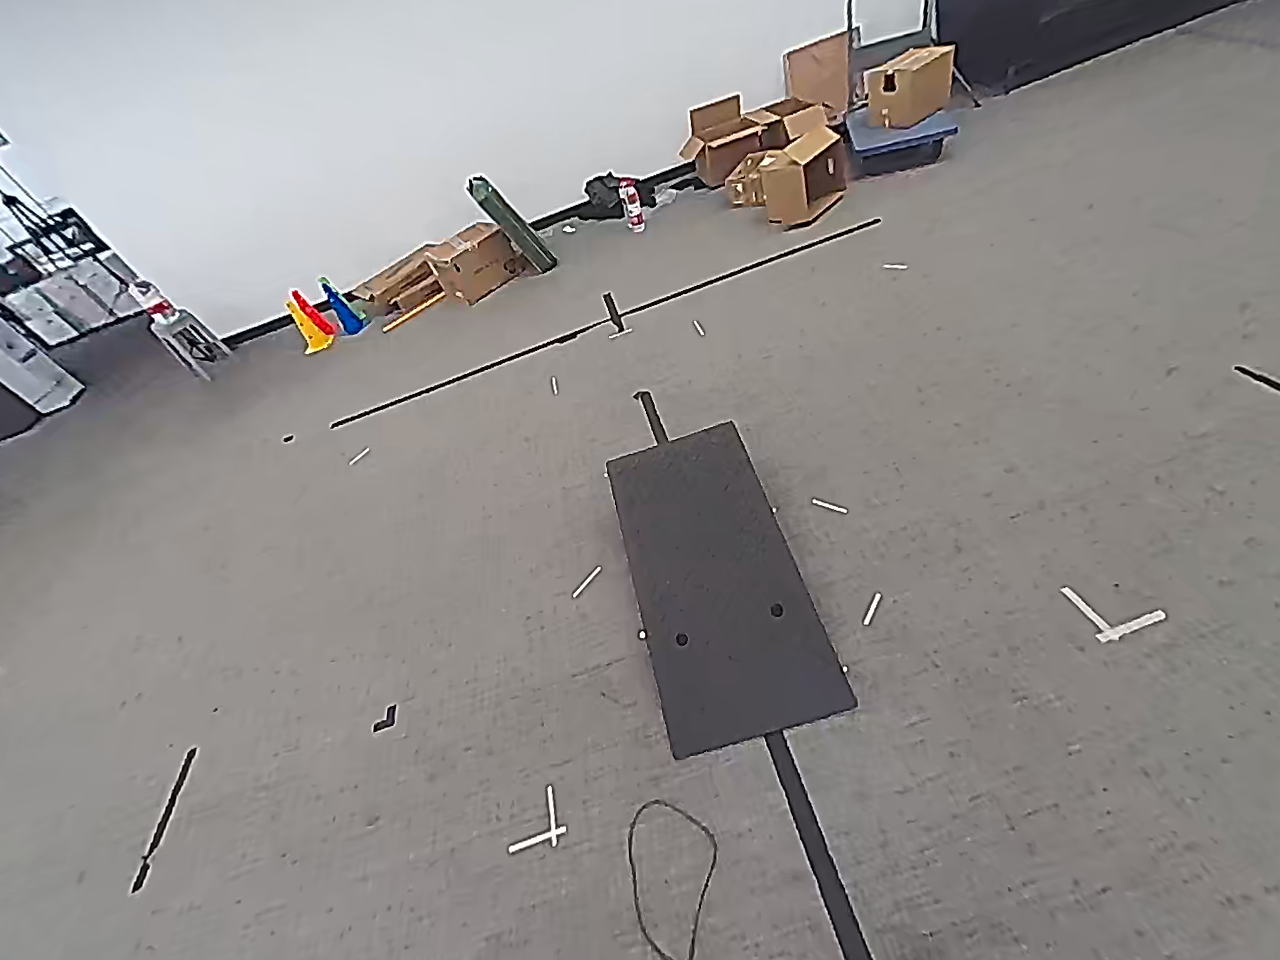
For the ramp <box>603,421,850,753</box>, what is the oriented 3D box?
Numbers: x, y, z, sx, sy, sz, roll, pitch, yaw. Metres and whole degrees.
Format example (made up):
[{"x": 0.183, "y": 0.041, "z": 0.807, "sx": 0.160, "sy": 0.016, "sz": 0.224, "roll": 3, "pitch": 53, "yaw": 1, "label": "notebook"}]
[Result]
[{"x": 0.206, "y": 0.250, "z": 1.679, "sx": 0.509, "sy": 0.206, "sz": 0.991, "roll": -19, "pitch": 44, "yaw": 2, "label": "ramp"}]
